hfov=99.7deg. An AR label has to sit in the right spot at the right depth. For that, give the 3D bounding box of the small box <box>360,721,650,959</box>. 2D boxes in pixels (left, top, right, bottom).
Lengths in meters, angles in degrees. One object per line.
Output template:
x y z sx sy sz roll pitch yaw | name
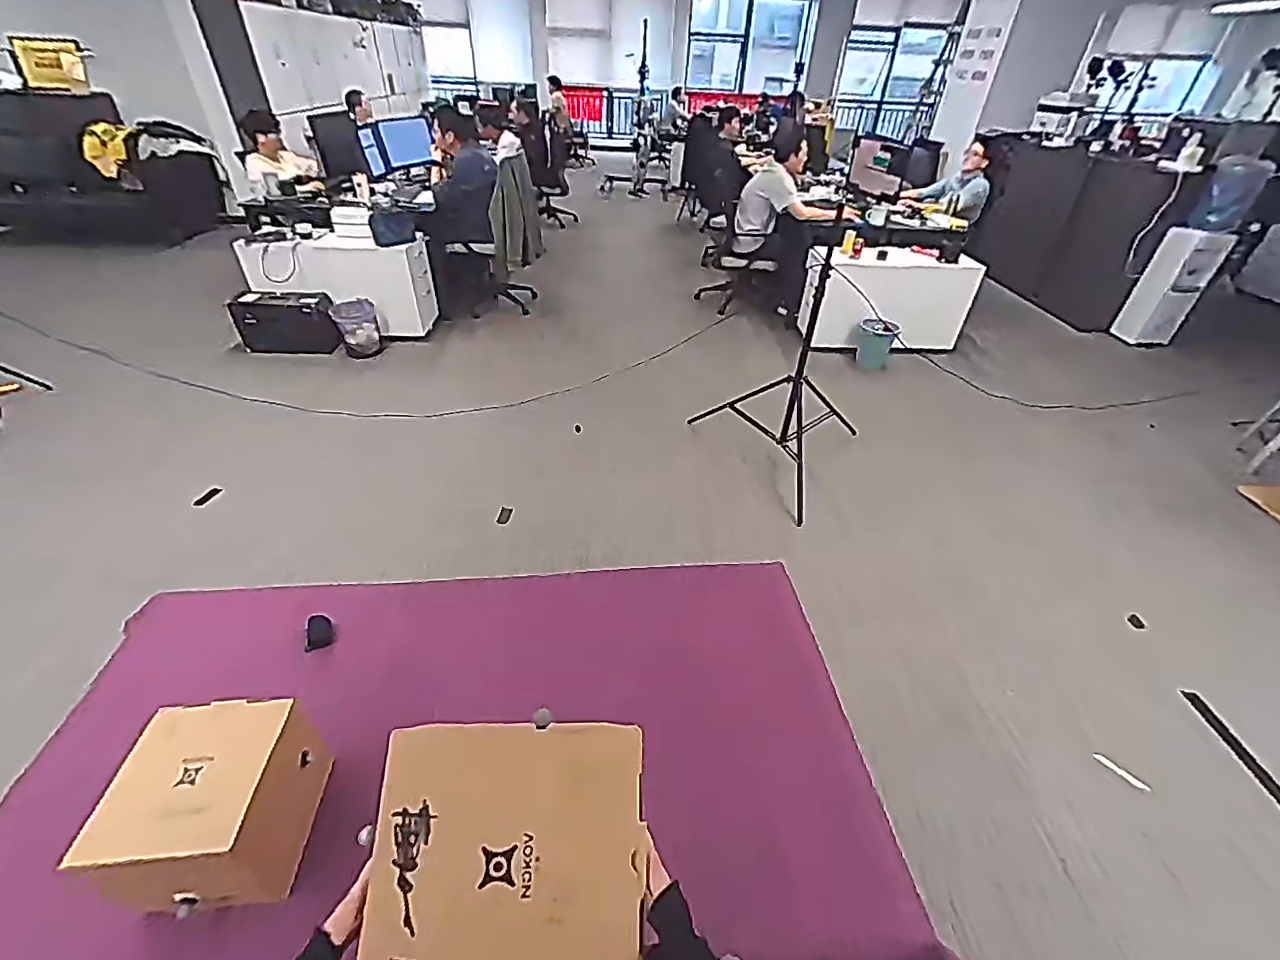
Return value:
-0.096 0.279 0.420 0.179 0.176 0.168 4 65 -10 | small box

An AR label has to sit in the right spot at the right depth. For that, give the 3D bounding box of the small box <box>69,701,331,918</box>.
-0.513 0.404 0.671 0.168 0.176 0.179 -3 38 -6 | small box
